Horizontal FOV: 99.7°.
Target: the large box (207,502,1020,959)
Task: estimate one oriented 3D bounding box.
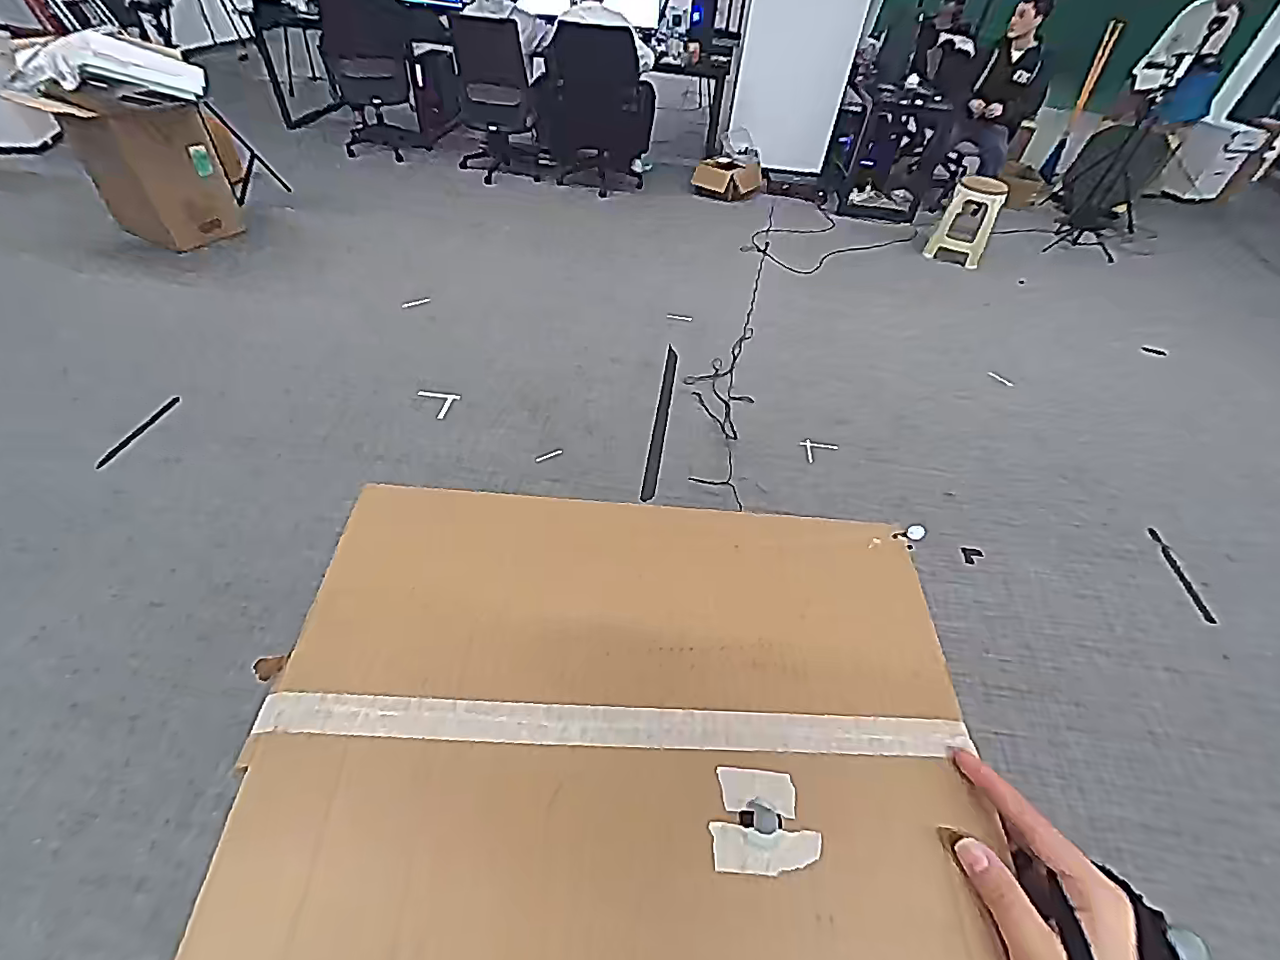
[{"bbox_3d":[-0.018,0.240,0.442,0.408,0.320,0.320,5,54,-5],"label":"large box"}]
